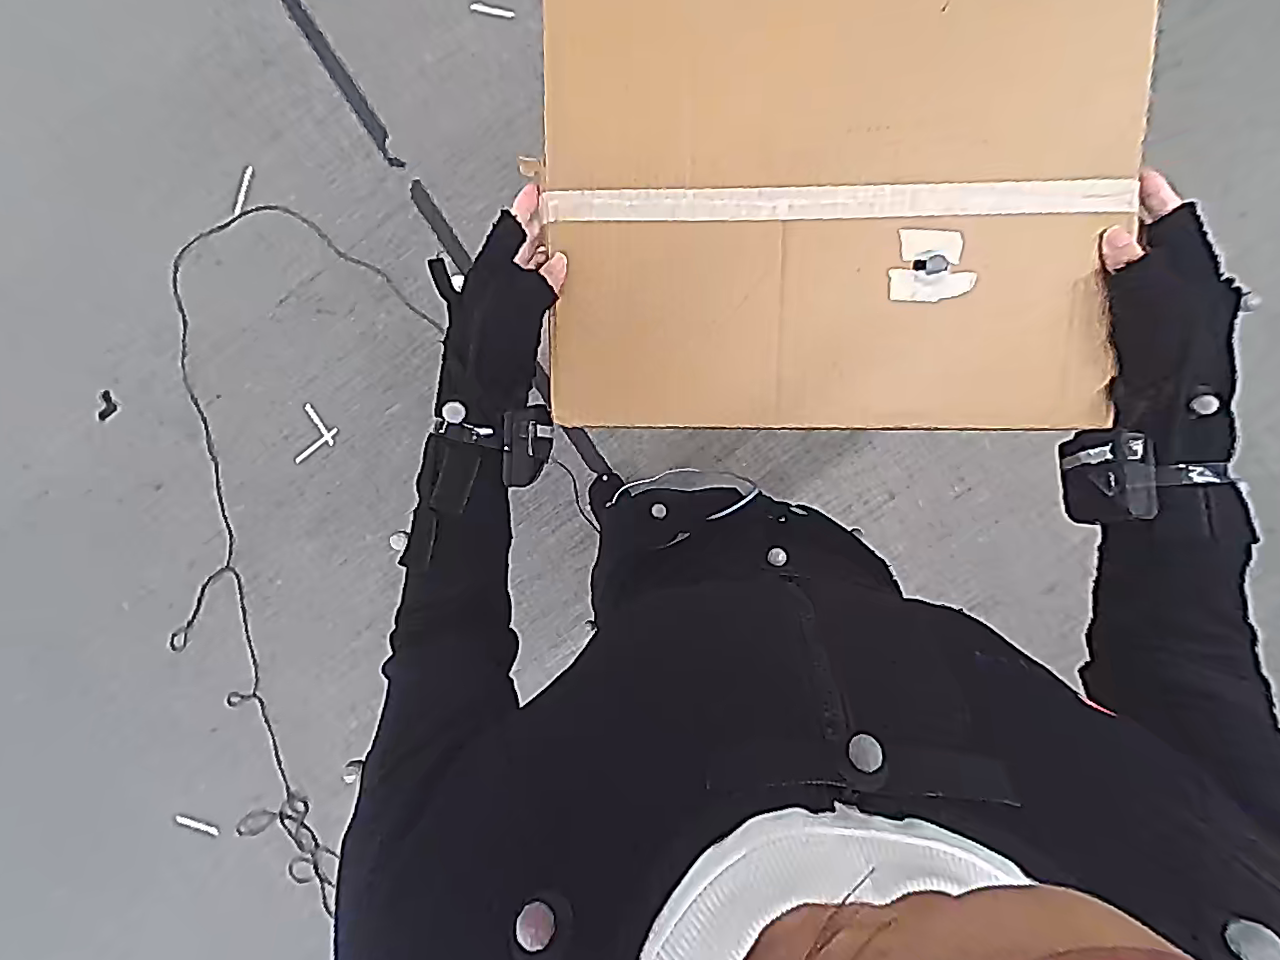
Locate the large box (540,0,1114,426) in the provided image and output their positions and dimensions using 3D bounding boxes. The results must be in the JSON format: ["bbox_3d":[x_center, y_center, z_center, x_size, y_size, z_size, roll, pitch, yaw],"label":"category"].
[{"bbox_3d":[0.133,-0.218,0.540,0.408,0.320,0.320,-1,98,2],"label":"large box"}]
